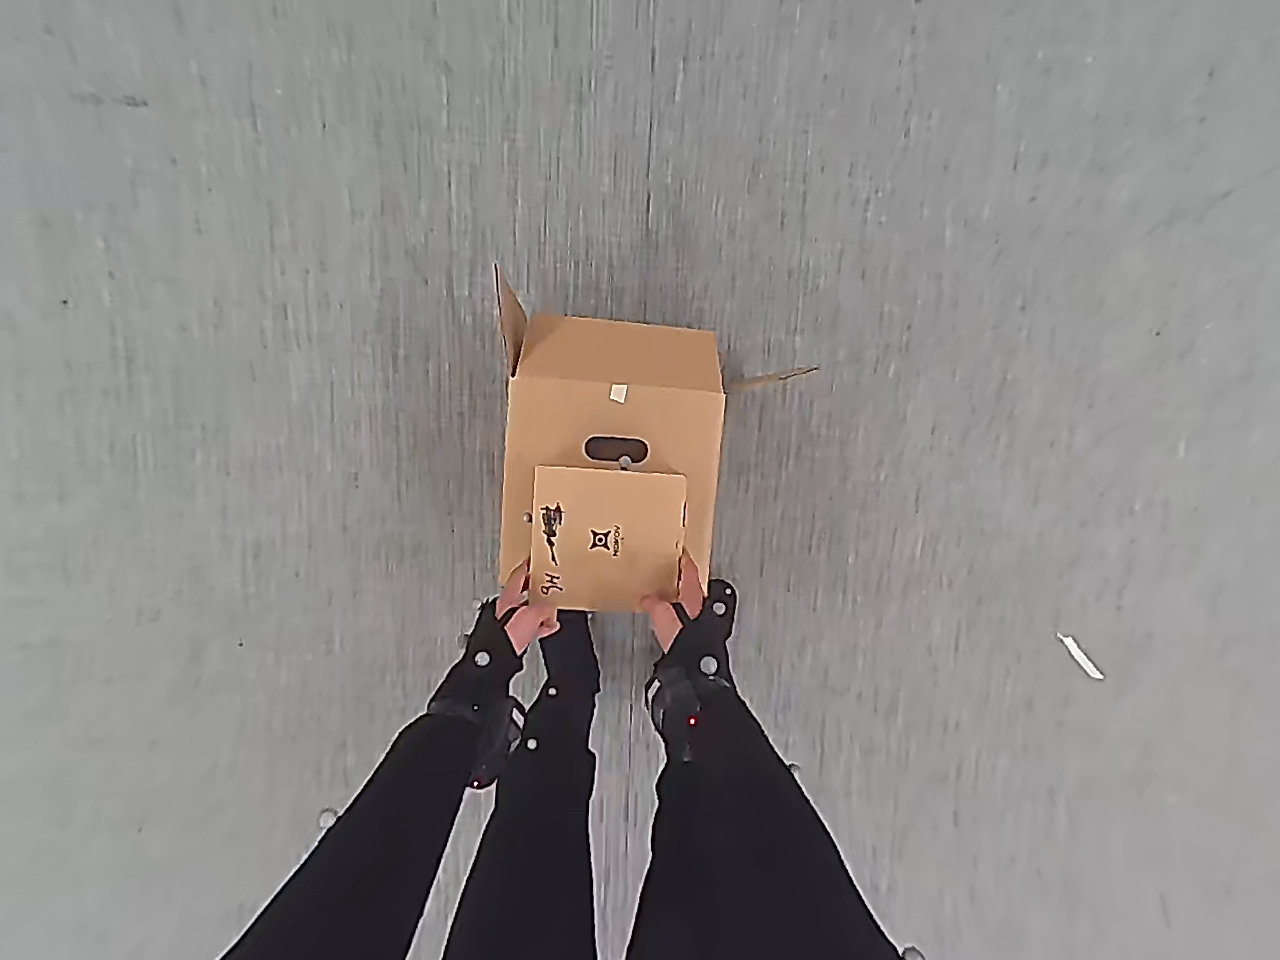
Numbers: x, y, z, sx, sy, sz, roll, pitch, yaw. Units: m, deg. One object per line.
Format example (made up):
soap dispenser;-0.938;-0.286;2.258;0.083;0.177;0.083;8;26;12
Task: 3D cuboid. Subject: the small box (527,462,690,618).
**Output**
small box;-0.042;0.067;0.693;0.179;0.176;0.168;4;94;-5
